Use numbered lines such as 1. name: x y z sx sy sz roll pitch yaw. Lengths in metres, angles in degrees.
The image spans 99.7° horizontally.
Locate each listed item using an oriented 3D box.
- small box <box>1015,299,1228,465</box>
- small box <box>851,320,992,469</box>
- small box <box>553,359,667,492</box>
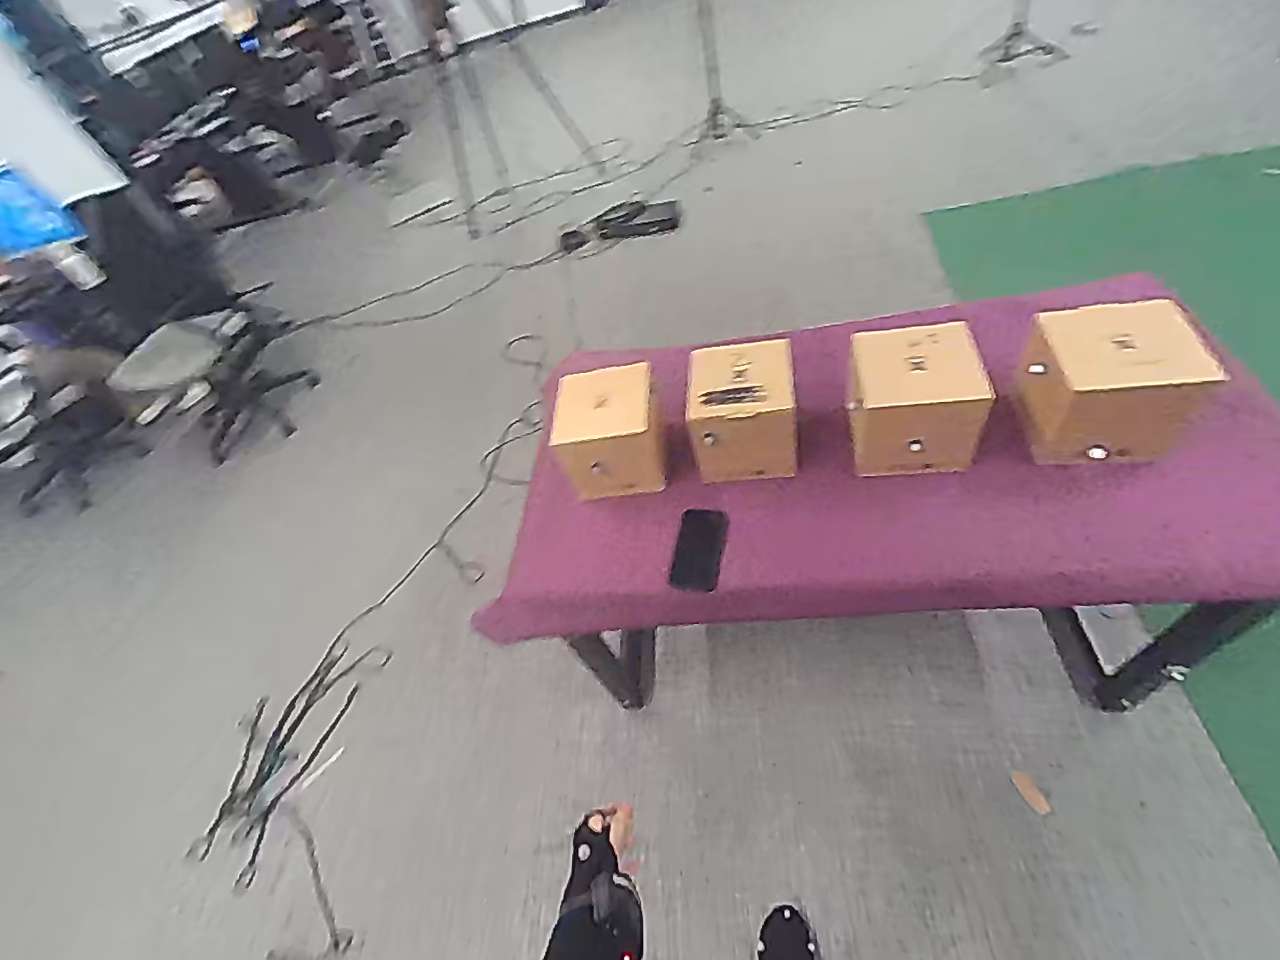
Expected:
1. small box: 0.691 -0.142 0.808 0.168 0.176 0.179 -2 52 17
2. small box: 0.439 -0.129 0.875 0.168 0.176 0.179 -2 52 15
3. small box: -0.045 -0.091 0.996 0.168 0.176 0.179 -7 50 12
